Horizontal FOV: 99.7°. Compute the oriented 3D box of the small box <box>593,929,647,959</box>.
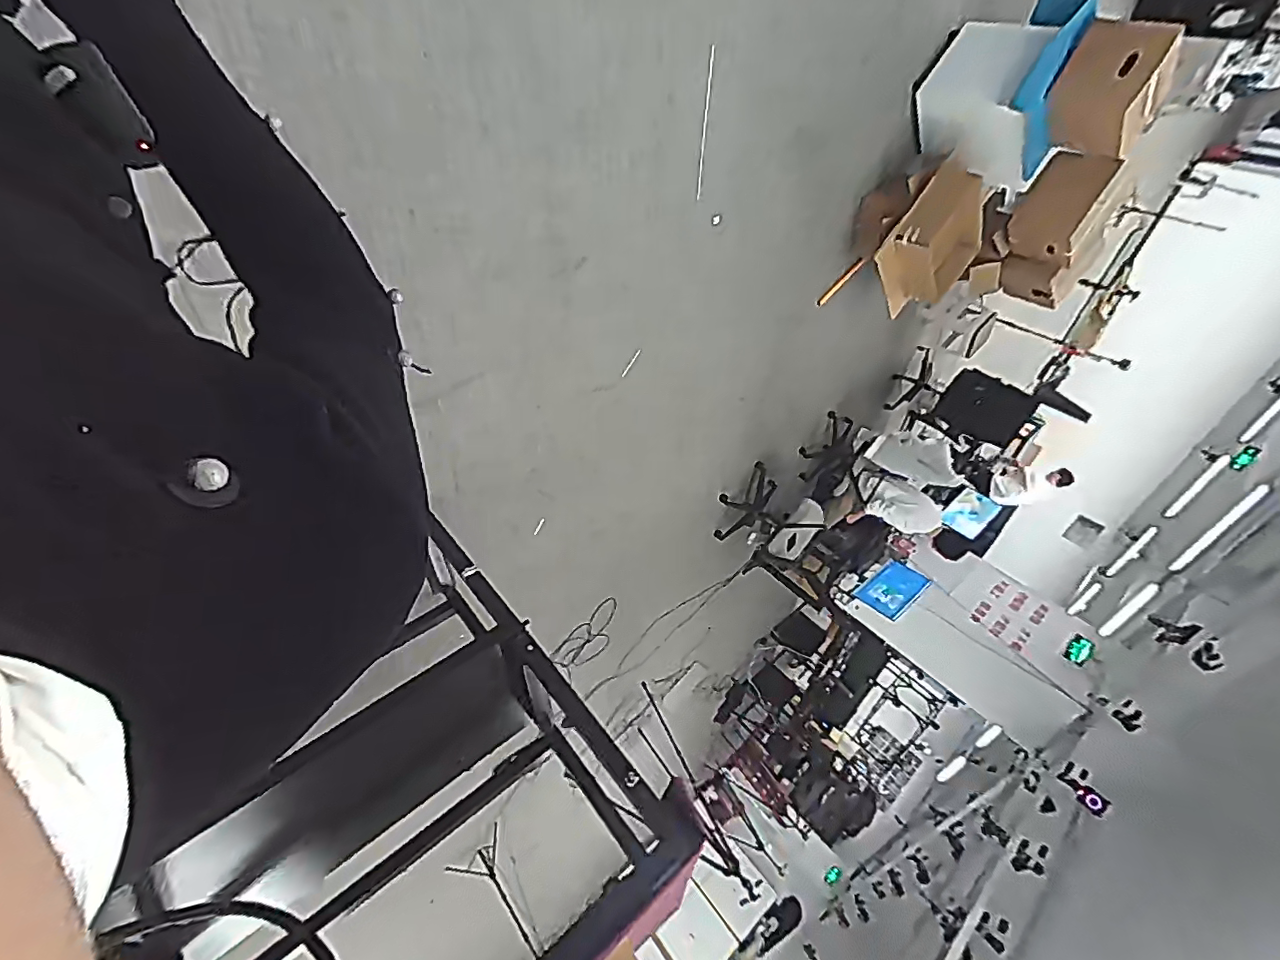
[{"bbox_3d":[-0.045,1.074,1.111,0.168,0.176,0.179,-30,144,-29],"label":"small box"}]
